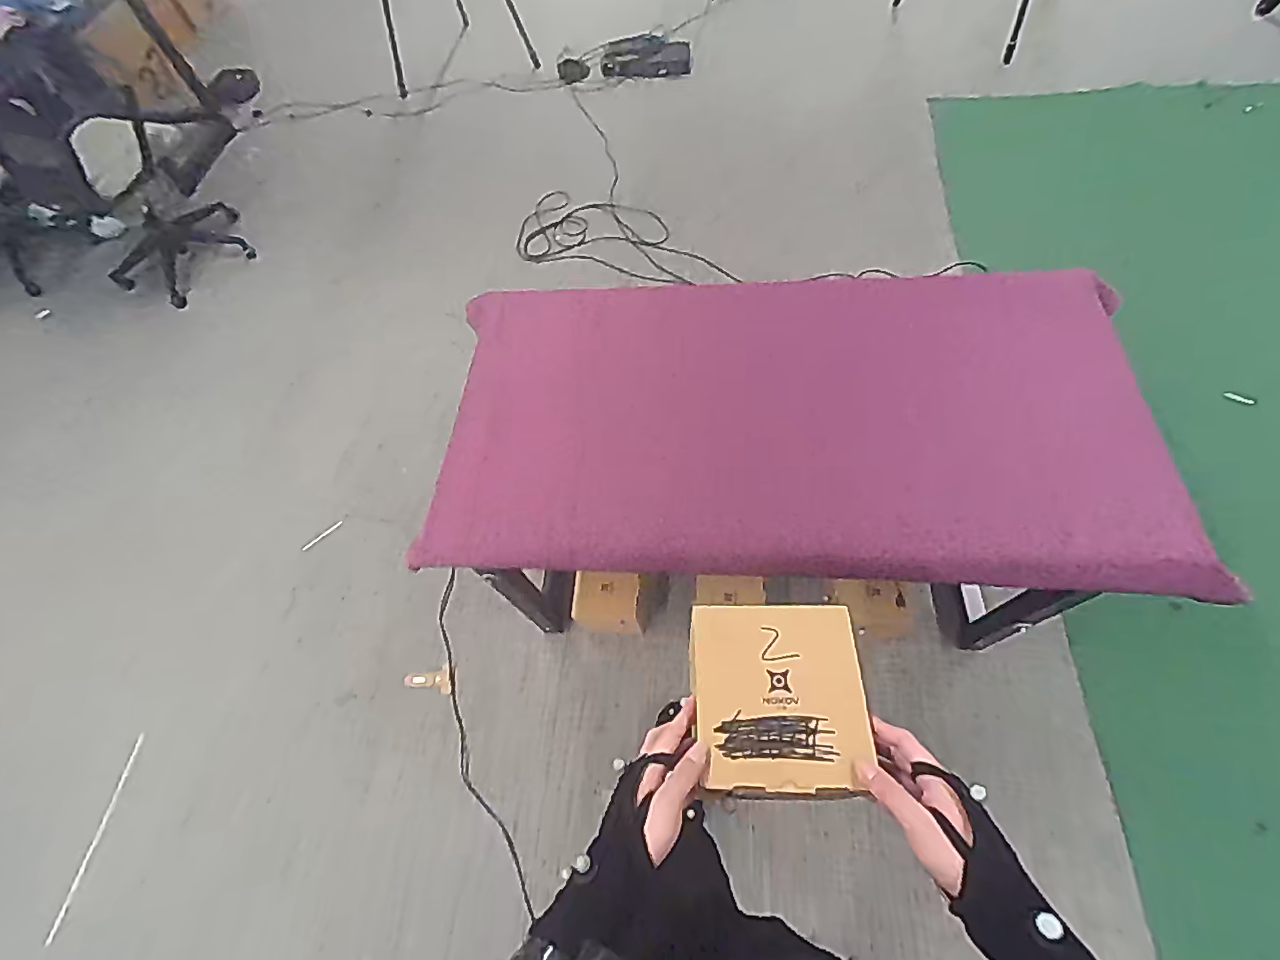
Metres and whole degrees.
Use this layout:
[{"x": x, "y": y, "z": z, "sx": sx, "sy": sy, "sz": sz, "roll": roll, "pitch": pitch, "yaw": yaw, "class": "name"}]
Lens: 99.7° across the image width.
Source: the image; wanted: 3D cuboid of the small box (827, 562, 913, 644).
[{"x": 0.594, "y": 0.326, "z": 1.421, "sx": 0.179, "sy": 0.176, "sz": 0.168, "roll": 3, "pitch": 62, "yaw": 9, "class": "small box"}]

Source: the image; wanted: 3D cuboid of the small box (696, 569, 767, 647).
[{"x": 0.244, "y": 0.349, "z": 1.456, "sx": 0.179, "sy": 0.176, "sz": 0.168, "roll": 1, "pitch": 61, "yaw": 9, "class": "small box"}]

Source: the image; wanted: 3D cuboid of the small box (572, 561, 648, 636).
[{"x": -0.077, "y": 0.334, "z": 1.507, "sx": 0.179, "sy": 0.176, "sz": 0.168, "roll": 0, "pitch": 61, "yaw": 7, "class": "small box"}]
